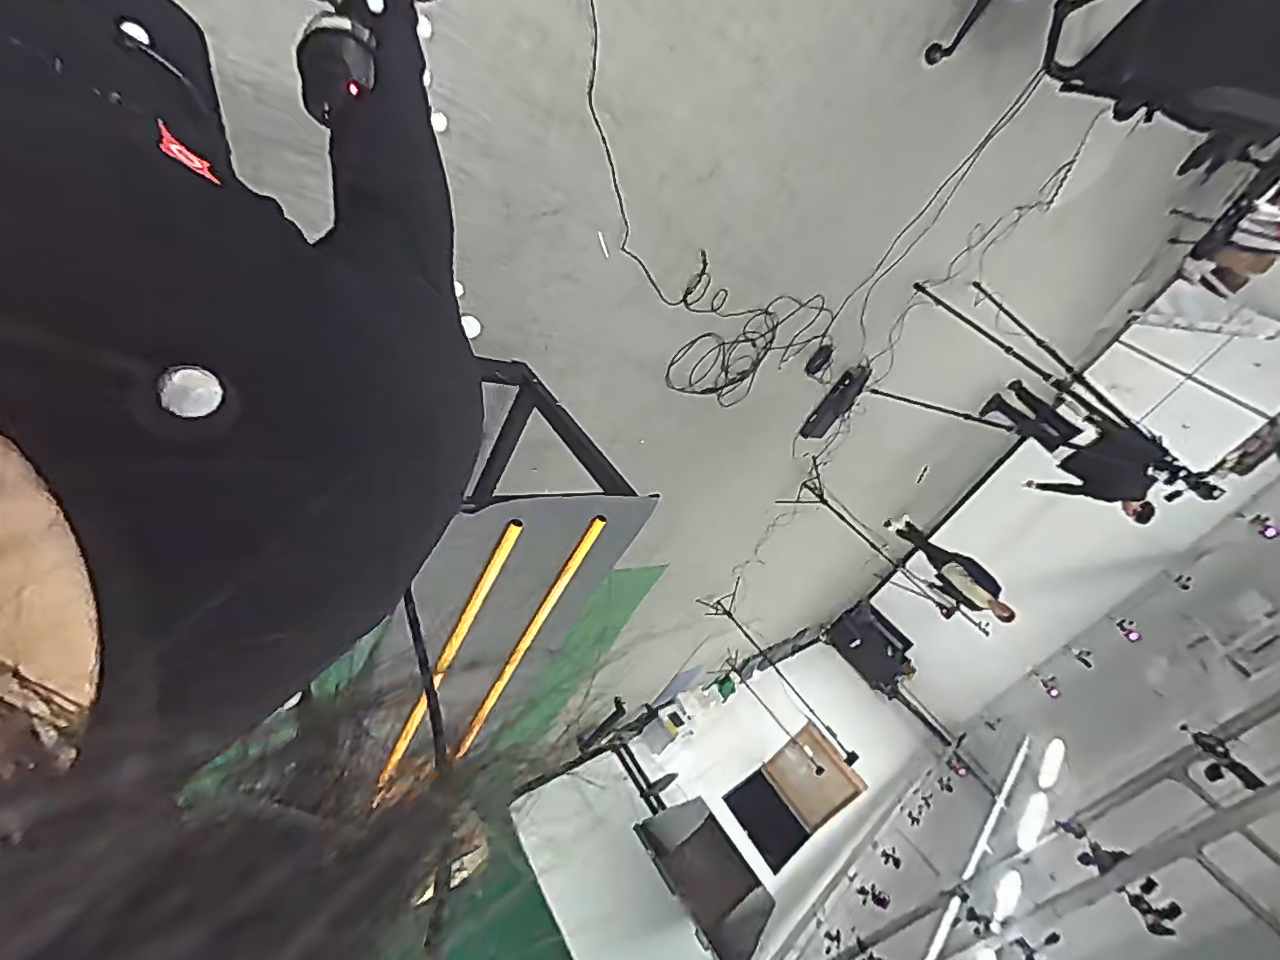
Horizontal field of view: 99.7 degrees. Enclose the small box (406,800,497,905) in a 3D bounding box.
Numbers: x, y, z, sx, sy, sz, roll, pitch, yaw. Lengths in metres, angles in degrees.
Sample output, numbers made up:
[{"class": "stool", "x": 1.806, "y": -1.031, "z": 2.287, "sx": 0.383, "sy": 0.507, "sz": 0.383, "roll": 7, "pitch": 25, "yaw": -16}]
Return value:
[{"class": "small box", "x": -0.555, "y": 1.071, "z": 1.575, "sx": 0.168, "sy": 0.176, "sz": 0.179, "roll": 6, "pitch": 125, "yaw": -50}]
